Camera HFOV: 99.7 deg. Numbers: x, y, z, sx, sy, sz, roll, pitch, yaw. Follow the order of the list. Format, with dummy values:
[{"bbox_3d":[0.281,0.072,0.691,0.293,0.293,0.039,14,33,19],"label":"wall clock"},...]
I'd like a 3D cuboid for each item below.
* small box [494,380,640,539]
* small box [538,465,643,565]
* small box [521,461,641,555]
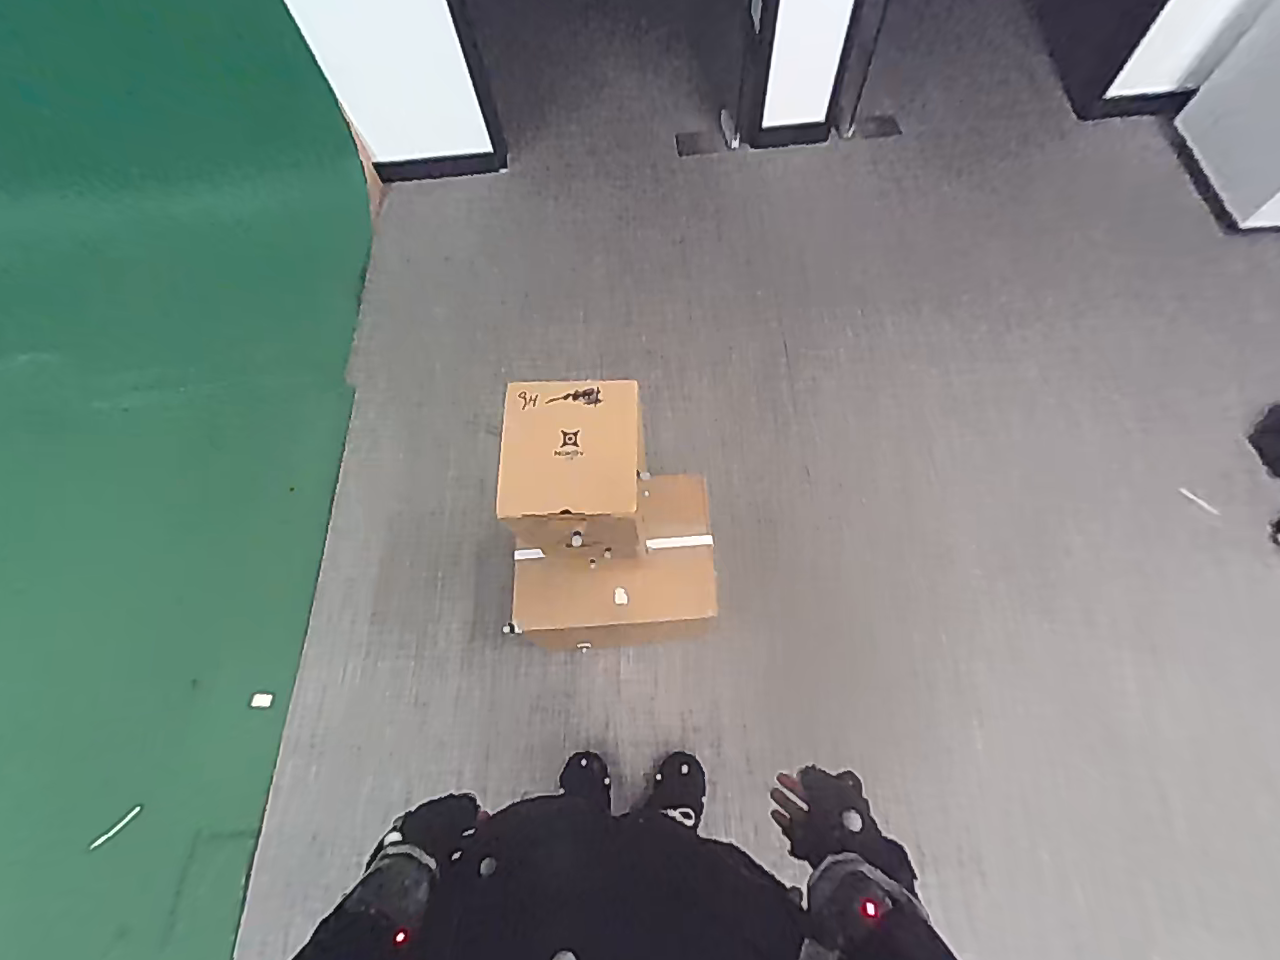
[{"bbox_3d":[-0.086,-0.018,0.728,0.168,0.176,0.179,0,73,2],"label":"small box"},{"bbox_3d":[-0.085,0.067,1.040,0.179,0.176,0.168,2,70,4],"label":"small box"},{"bbox_3d":[-0.086,0.022,0.888,0.168,0.176,0.179,3,71,2],"label":"small box"}]
